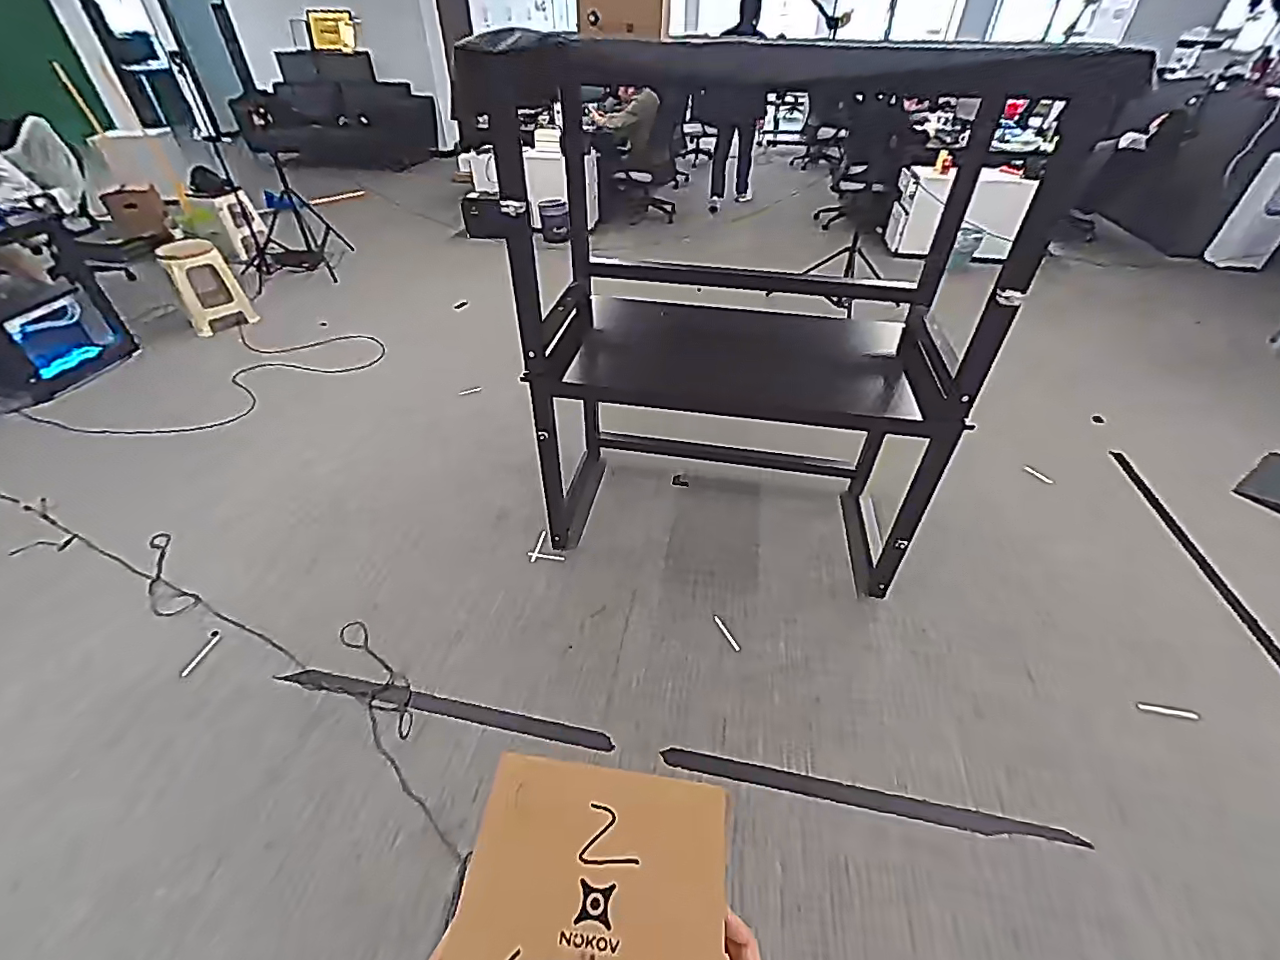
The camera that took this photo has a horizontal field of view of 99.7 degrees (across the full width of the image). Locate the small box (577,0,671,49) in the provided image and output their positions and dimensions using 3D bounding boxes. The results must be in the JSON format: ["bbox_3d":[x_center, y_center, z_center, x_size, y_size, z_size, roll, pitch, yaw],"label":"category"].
[{"bbox_3d":[-0.027,-0.951,1.055,0.168,0.176,0.179,7,39,5],"label":"small box"}]
